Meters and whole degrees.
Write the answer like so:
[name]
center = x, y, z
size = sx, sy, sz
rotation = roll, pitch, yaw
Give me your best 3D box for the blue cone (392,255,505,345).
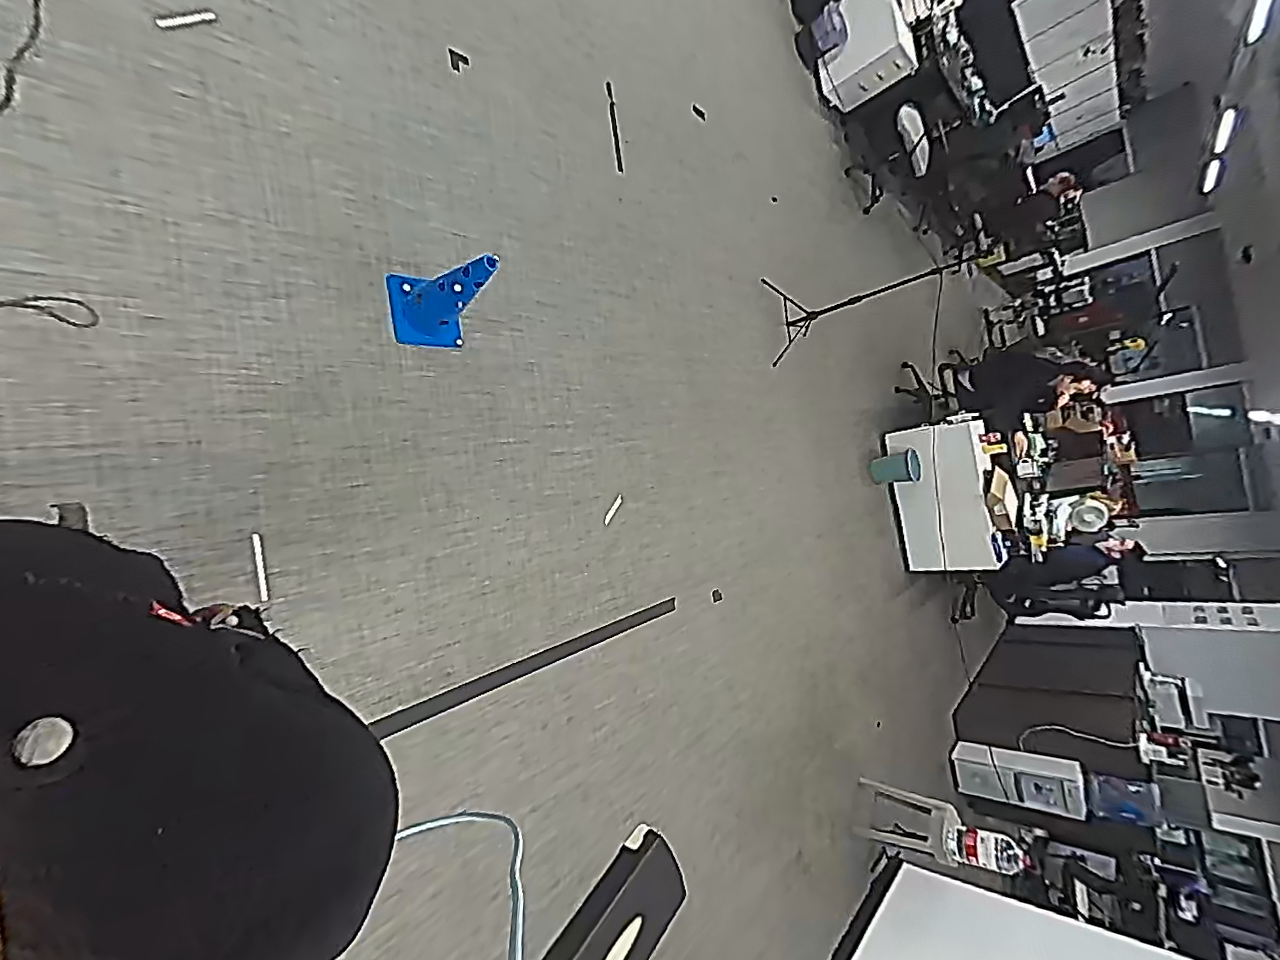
[blue cone]
center = -0.484, -0.503, 1.428
size = 0.192, 0.380, 0.193
rotation = -6, 87, -48
